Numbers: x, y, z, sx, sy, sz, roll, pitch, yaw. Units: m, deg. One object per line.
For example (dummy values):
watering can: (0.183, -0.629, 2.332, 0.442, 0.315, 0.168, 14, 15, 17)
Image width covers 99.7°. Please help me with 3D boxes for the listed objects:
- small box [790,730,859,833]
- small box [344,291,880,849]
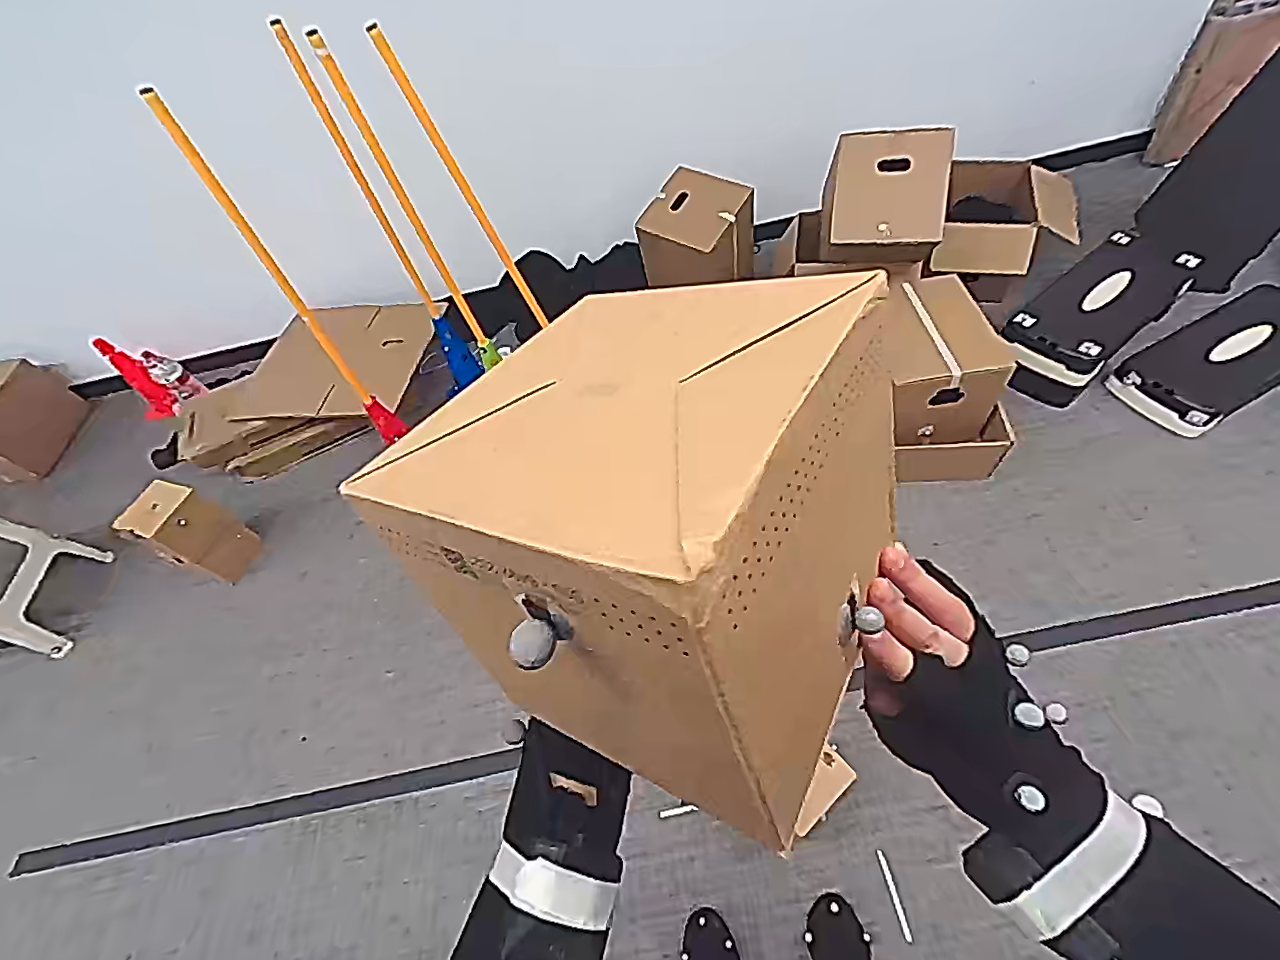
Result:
small box: (0.351, 0.644, 1.190, 0.179, 0.176, 0.168, -39, 57, -17)
small box: (0.008, 0.025, 0.264, 0.168, 0.176, 0.179, 8, 45, 37)
